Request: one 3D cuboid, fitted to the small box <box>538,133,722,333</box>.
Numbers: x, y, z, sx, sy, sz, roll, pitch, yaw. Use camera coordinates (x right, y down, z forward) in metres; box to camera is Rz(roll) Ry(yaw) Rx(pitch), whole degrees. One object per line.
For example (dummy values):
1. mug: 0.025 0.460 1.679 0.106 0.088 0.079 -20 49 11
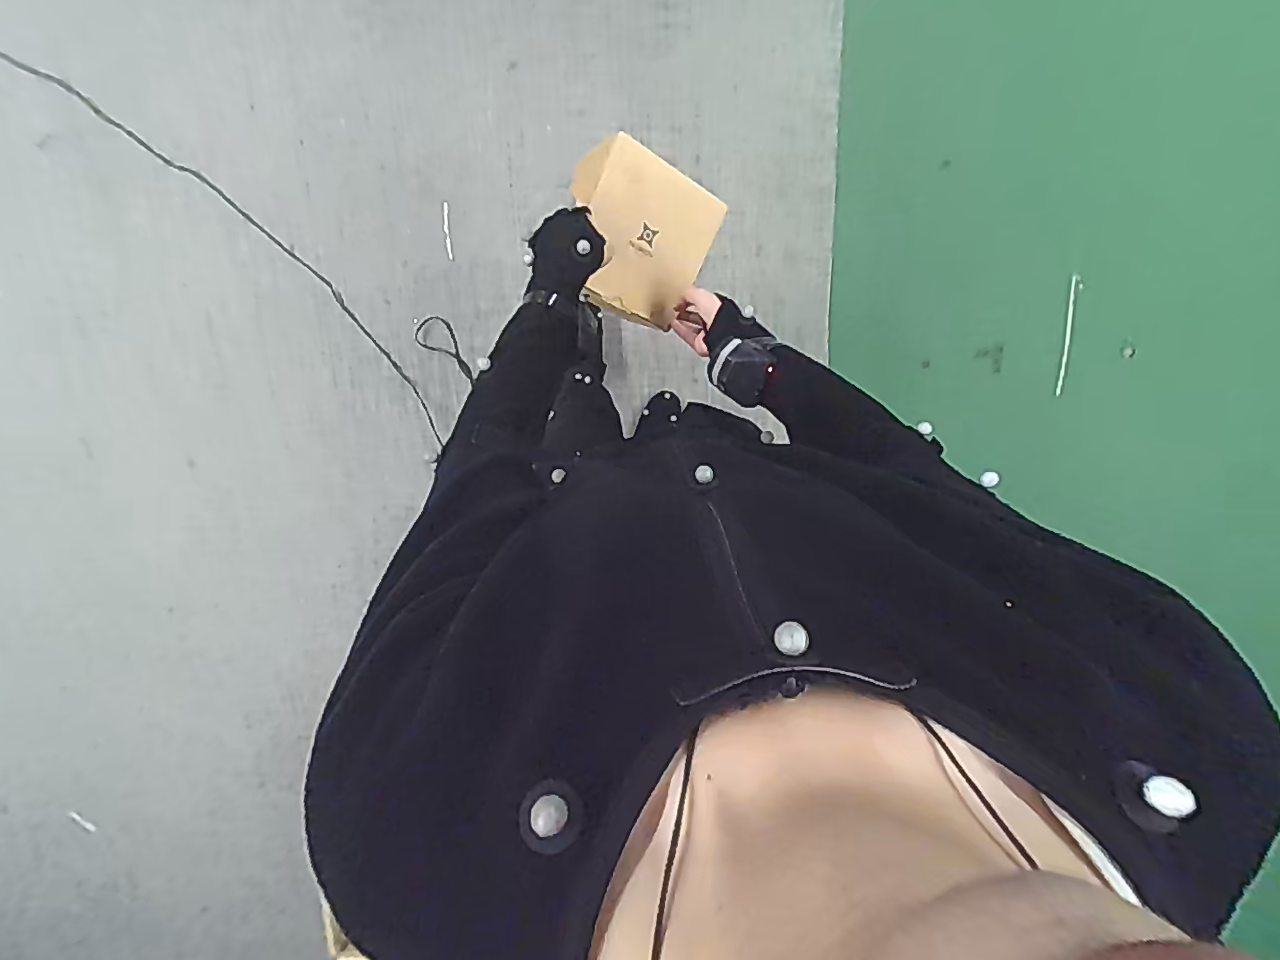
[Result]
1. small box: -0.025 -0.321 0.730 0.168 0.176 0.179 19 103 -26
